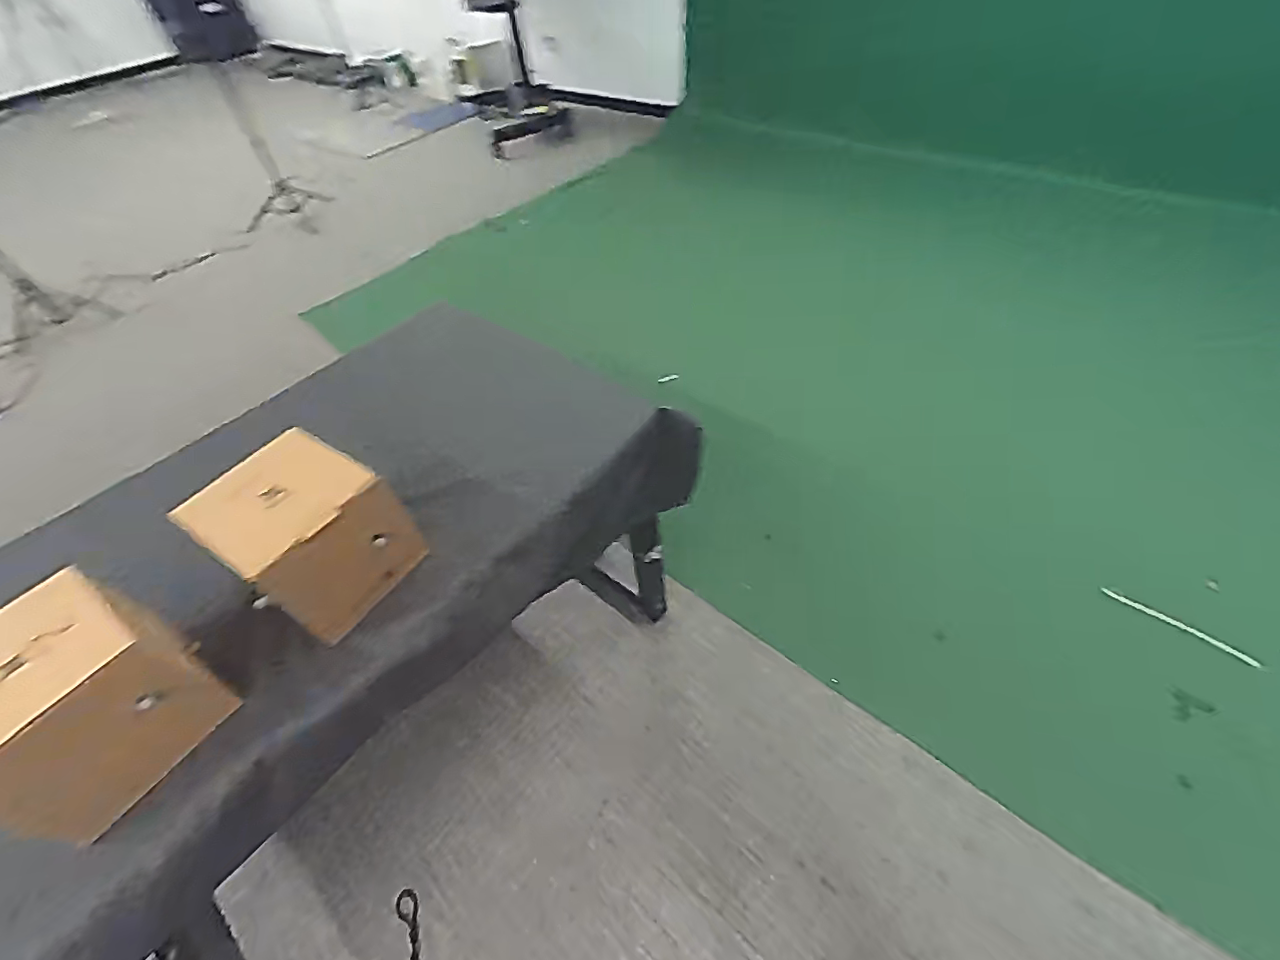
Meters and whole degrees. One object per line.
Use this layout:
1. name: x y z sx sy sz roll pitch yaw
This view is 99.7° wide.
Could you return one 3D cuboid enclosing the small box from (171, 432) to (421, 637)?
1. small box: -0.417 0.073 0.686 0.179 0.176 0.168 22 54 25
